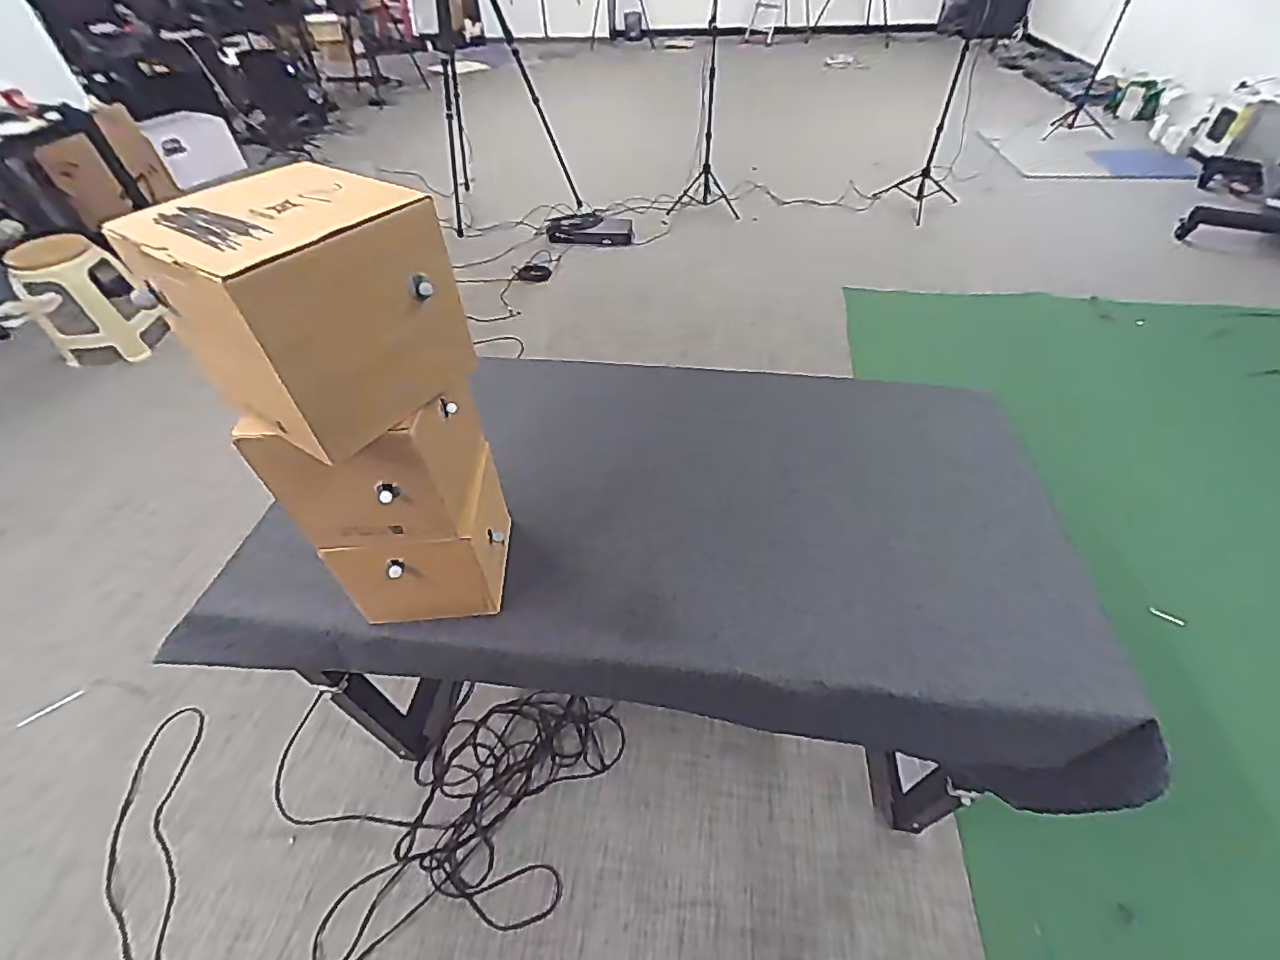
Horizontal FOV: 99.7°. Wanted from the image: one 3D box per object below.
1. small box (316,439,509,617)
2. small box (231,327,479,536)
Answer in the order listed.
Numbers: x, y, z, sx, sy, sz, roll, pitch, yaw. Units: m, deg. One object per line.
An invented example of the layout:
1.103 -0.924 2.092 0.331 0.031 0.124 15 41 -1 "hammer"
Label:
-0.279 0.066 0.716 0.179 0.176 0.168 -4 46 -1 "small box"
-0.289 -0.049 0.602 0.168 0.176 0.179 -2 45 -1 "small box"
